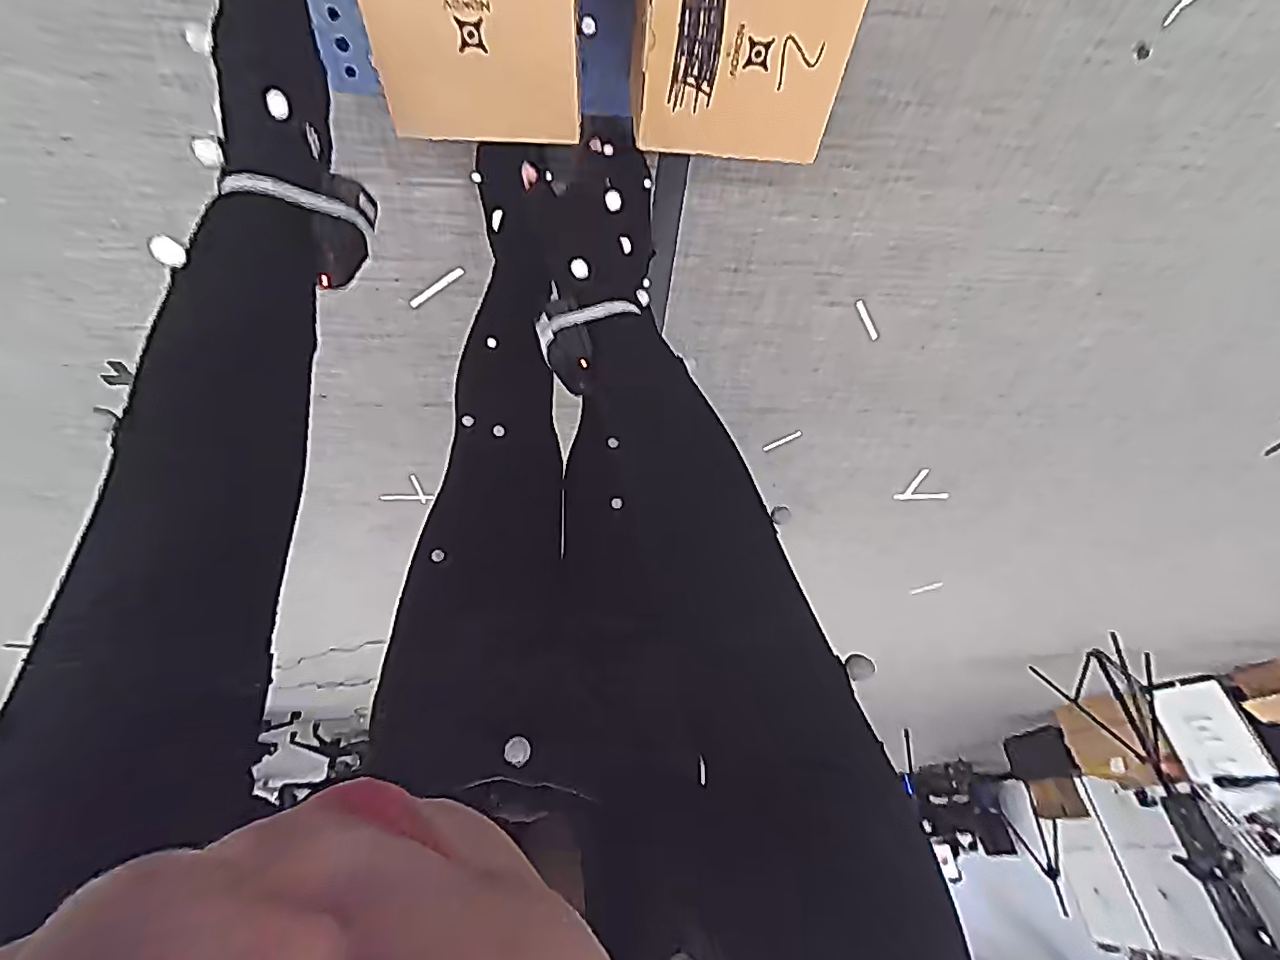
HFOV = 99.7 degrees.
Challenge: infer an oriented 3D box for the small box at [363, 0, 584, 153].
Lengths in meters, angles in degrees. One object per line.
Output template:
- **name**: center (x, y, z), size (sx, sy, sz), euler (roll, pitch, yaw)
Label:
- **small box**: center (-0.135, -0.423, 0.479), size (0.168, 0.176, 0.179), euler (0, 143, -4)
